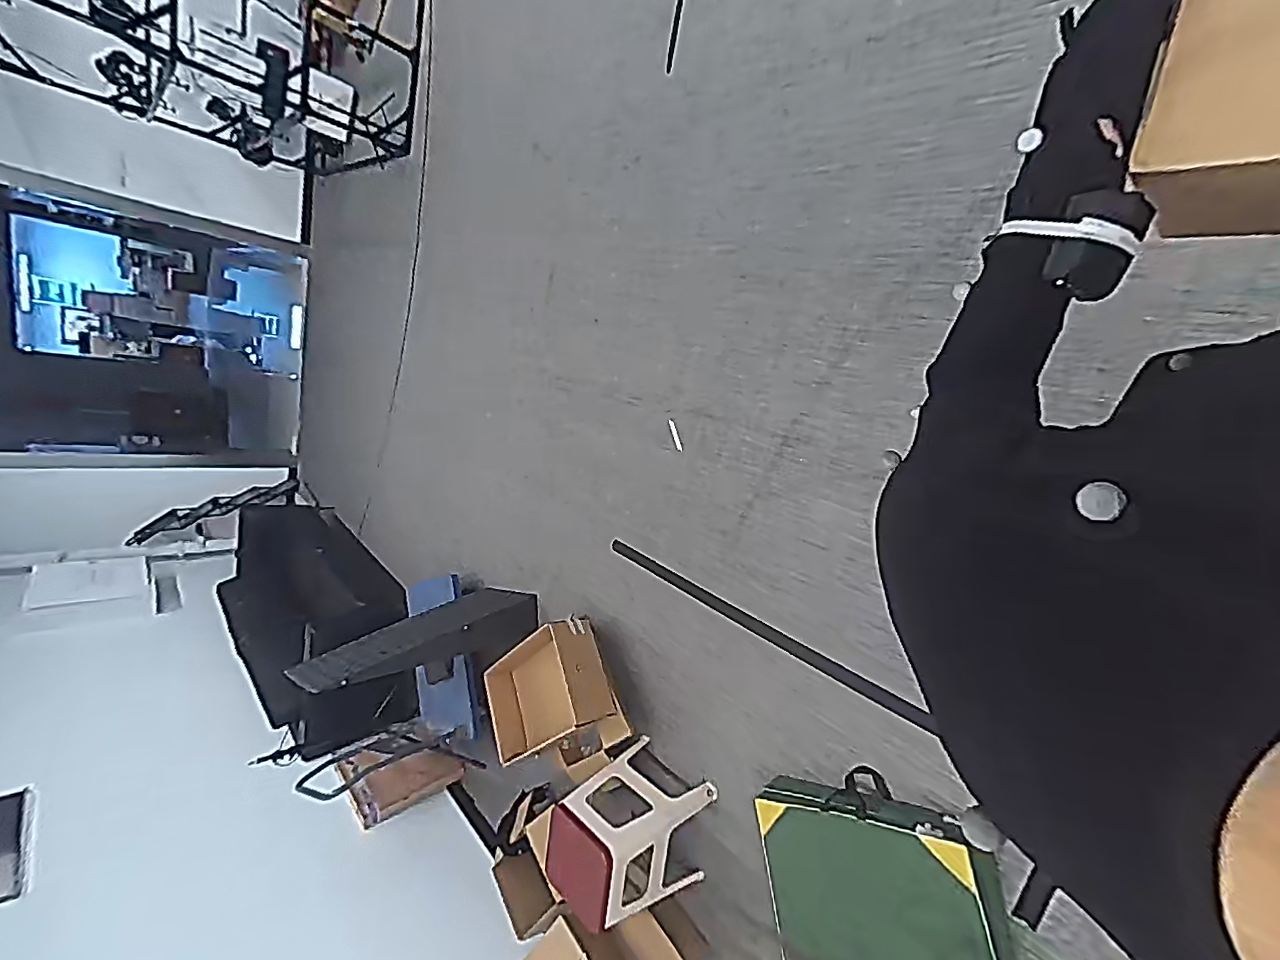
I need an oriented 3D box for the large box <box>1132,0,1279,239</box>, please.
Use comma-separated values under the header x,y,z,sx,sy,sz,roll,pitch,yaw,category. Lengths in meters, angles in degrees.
x,y,z,sx,sy,sz,roll,pitch,yaw,category
0.612,-0.348,0.328,0.408,0.320,0.320,19,113,43,large box
